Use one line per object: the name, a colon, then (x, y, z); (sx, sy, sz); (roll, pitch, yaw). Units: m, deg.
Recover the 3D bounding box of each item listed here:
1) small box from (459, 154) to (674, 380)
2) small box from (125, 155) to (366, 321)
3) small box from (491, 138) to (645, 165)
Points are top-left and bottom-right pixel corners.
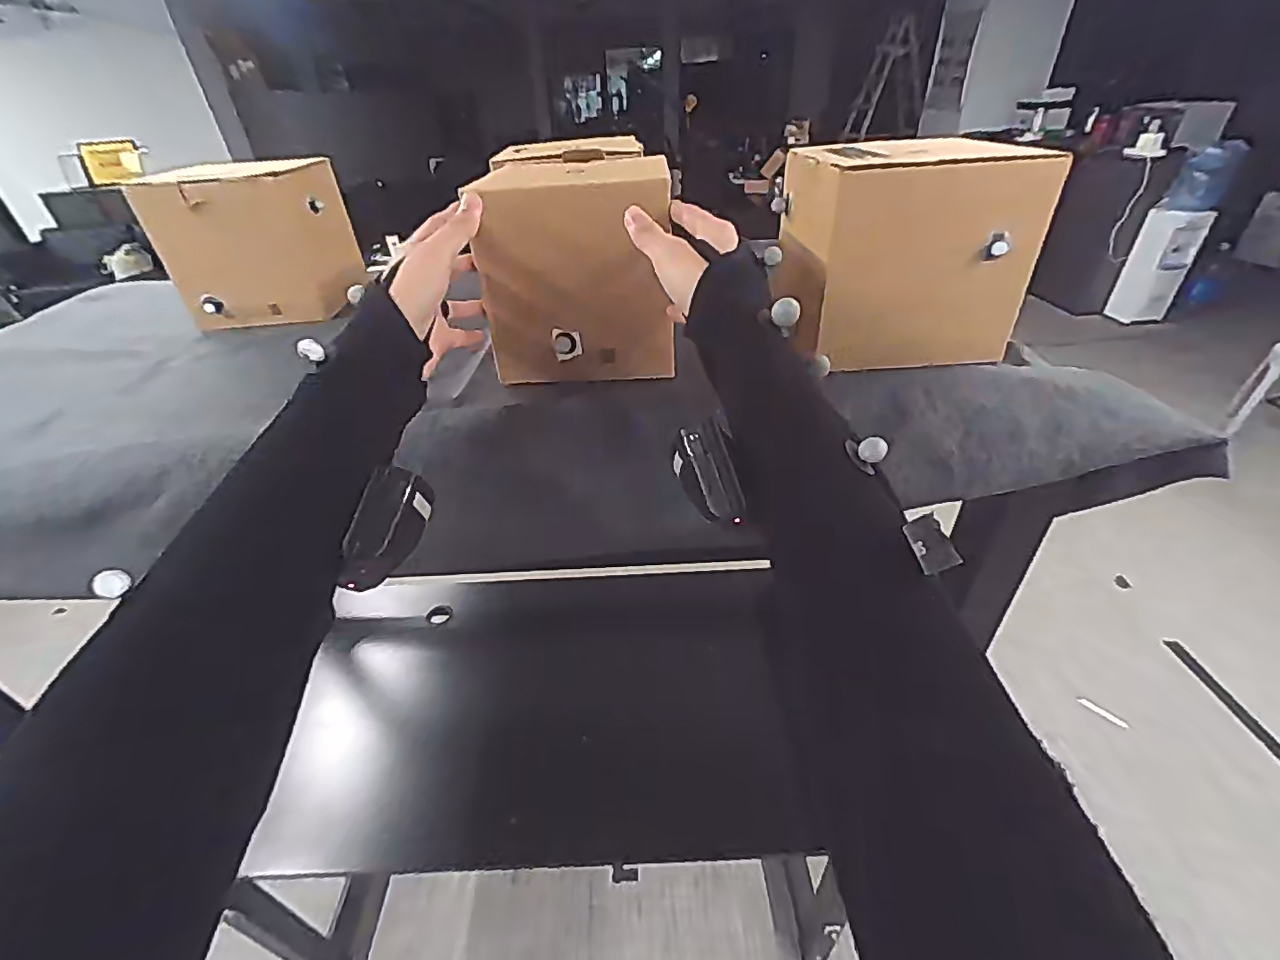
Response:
small box: (-0.052, -0.207, 0.519); (0.168, 0.176, 0.179); (-2, 35, 2)
small box: (-0.487, -0.314, 0.708); (0.168, 0.176, 0.179); (-5, 36, -3)
small box: (-0.081, -0.344, 0.716); (0.179, 0.176, 0.168); (-3, 36, 0)
